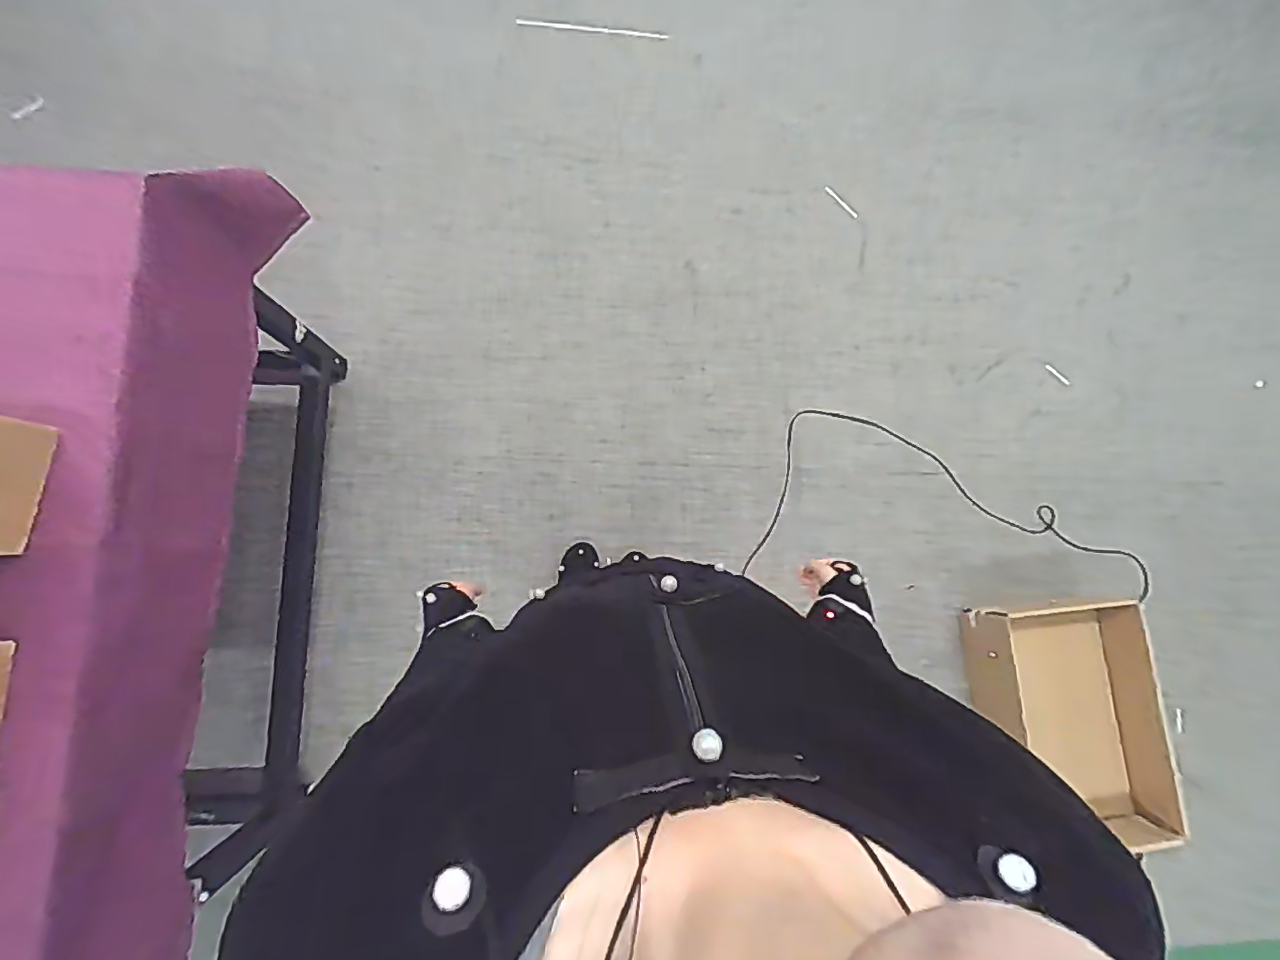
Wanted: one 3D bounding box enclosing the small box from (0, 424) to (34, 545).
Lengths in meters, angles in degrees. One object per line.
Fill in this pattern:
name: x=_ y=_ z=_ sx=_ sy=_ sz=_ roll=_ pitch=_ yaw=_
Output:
small box: x=-0.886 y=-0.003 z=0.628 sx=0.168 sy=0.176 sz=0.179 roll=9 pitch=81 yaw=-5
